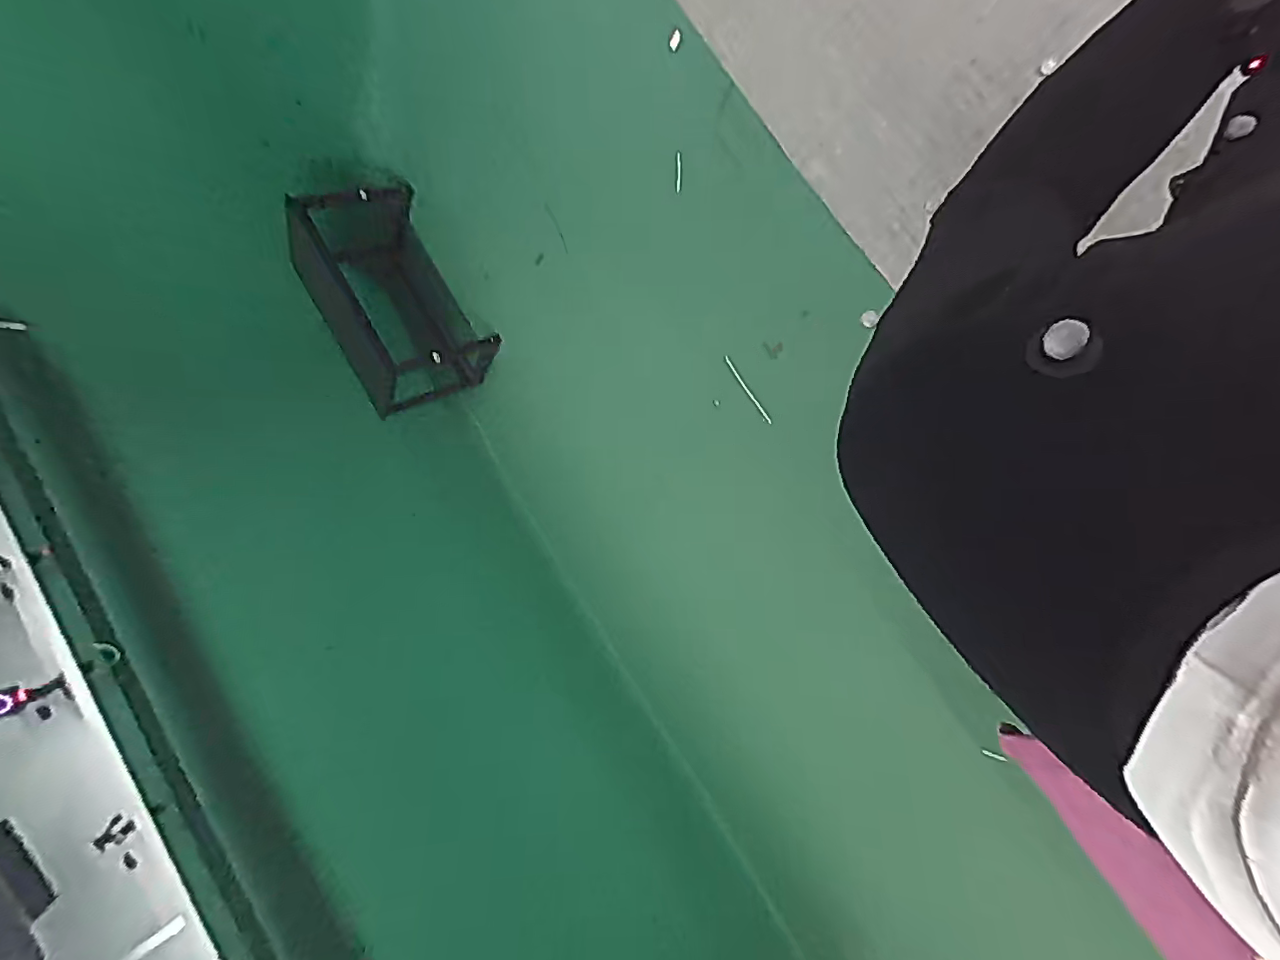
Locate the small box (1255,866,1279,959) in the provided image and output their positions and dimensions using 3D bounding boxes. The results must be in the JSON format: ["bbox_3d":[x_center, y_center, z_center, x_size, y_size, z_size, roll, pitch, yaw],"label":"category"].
[{"bbox_3d":[0.963,0.626,0.689,0.168,0.176,0.179,56,146,8],"label":"small box"}]
